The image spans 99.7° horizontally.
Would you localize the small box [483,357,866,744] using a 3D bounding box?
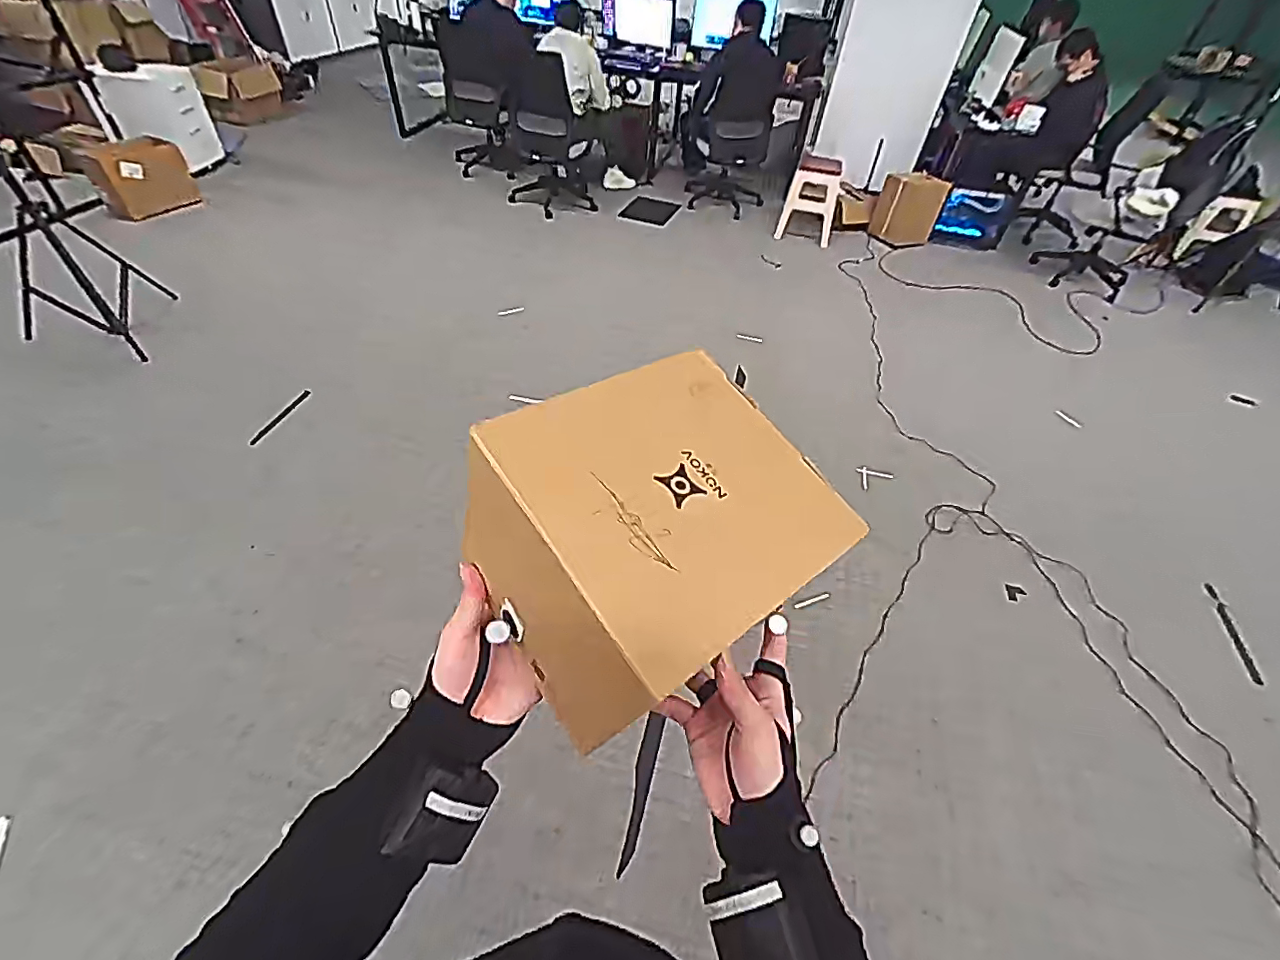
[{"bbox_3d":[0.007,0.049,0.375,0.179,0.176,0.168,-27,68,-32],"label":"small box"}]
